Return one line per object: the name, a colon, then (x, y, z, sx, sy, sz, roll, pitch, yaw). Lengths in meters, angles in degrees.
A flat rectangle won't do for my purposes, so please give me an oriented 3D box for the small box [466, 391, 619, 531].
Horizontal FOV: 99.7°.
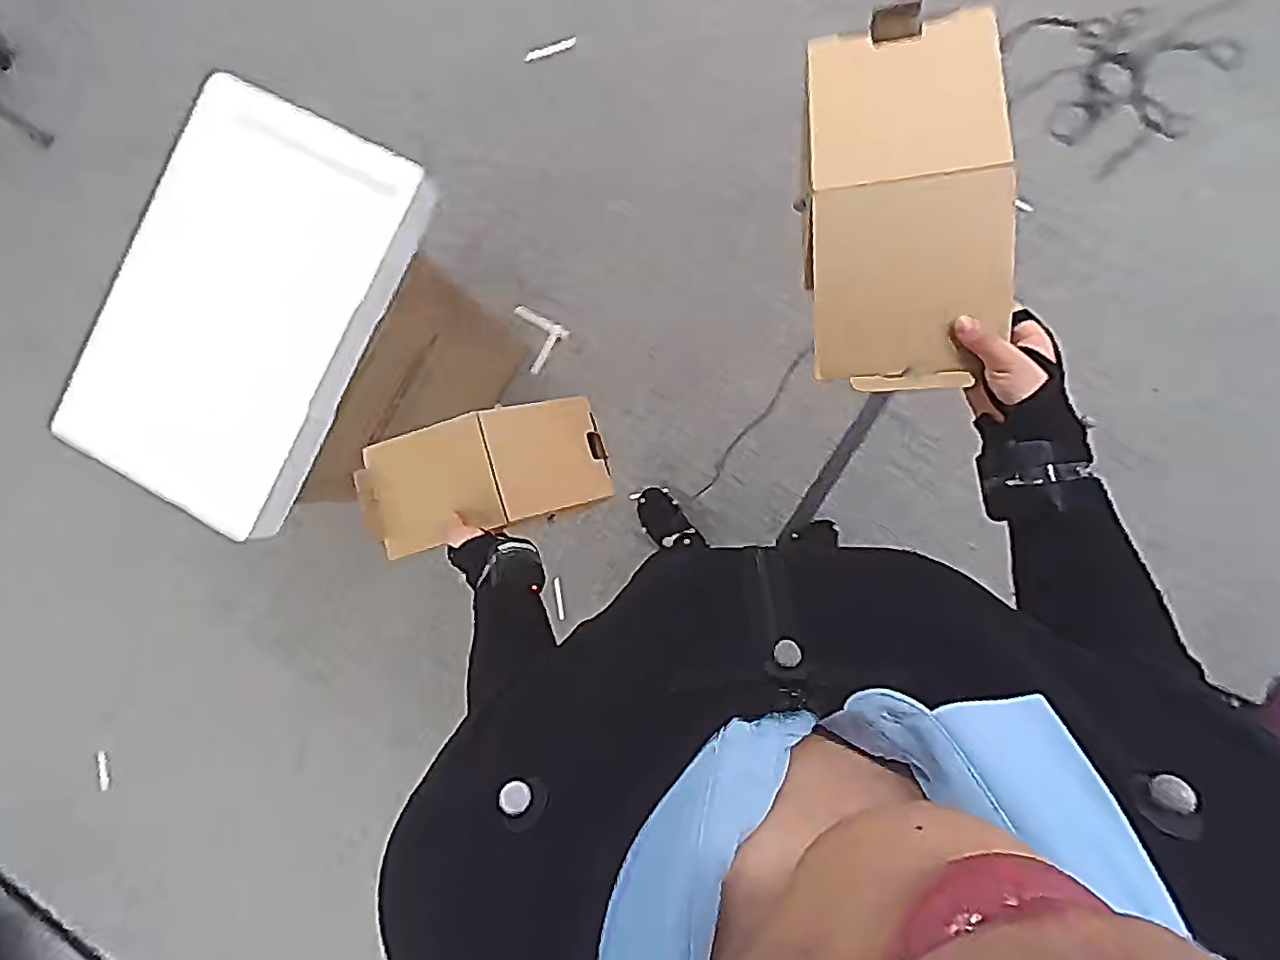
small box: (-0.161, -0.024, 0.841, 0.179, 0.176, 0.168, -13, 85, -30)
